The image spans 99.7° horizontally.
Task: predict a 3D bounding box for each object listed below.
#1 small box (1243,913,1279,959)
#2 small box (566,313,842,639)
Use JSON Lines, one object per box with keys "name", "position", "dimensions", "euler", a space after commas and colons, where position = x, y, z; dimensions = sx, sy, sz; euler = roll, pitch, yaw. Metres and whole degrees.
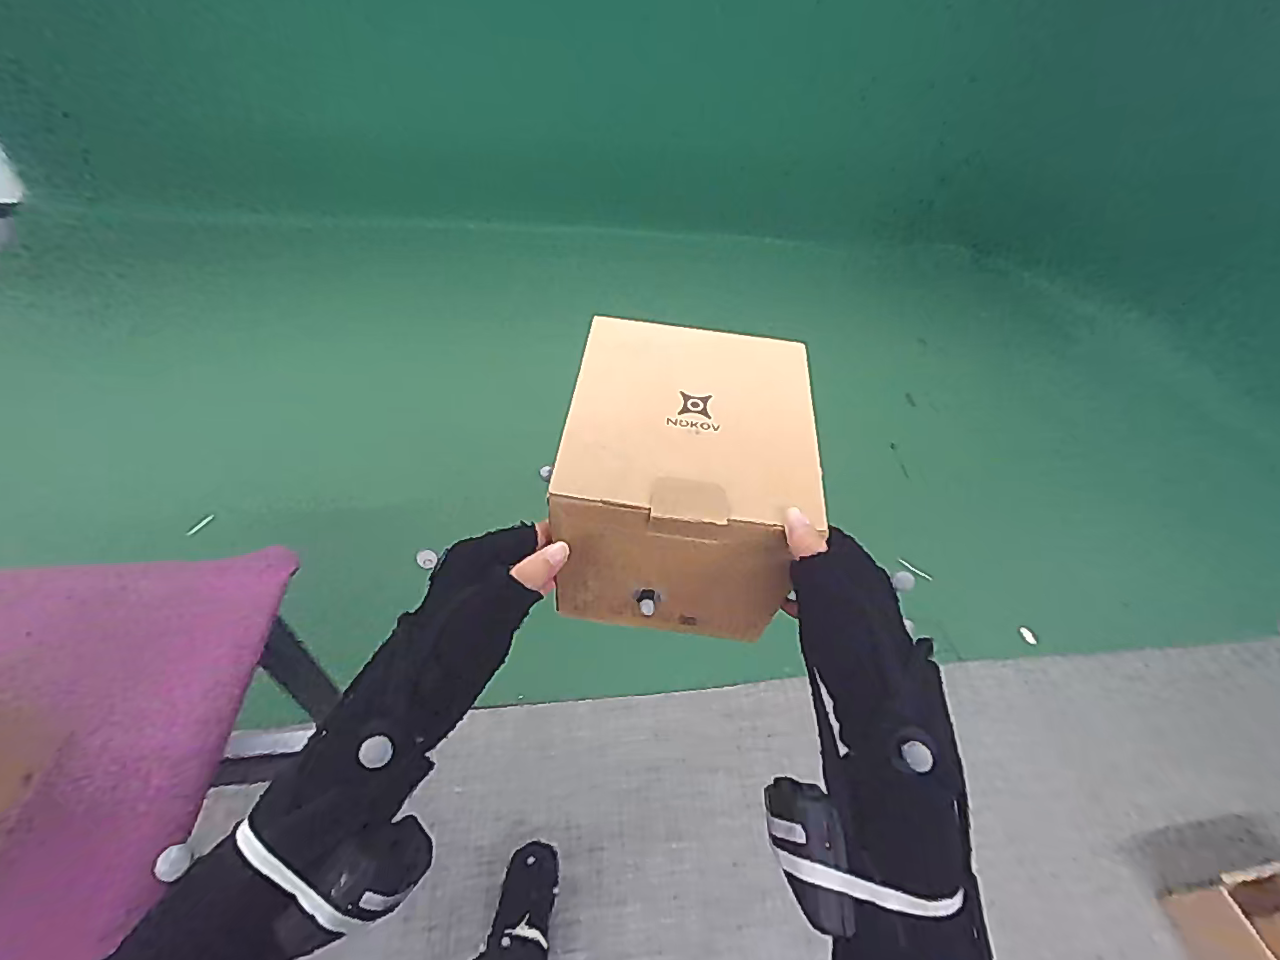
{"name": "small box", "position": [1.427, 0.983, 1.100], "dimensions": [0.179, 0.176, 0.168], "euler": [-2, 47, -9]}
{"name": "small box", "position": [0.039, 0.002, 0.424], "dimensions": [0.168, 0.176, 0.179], "euler": [9, 54, 0]}
